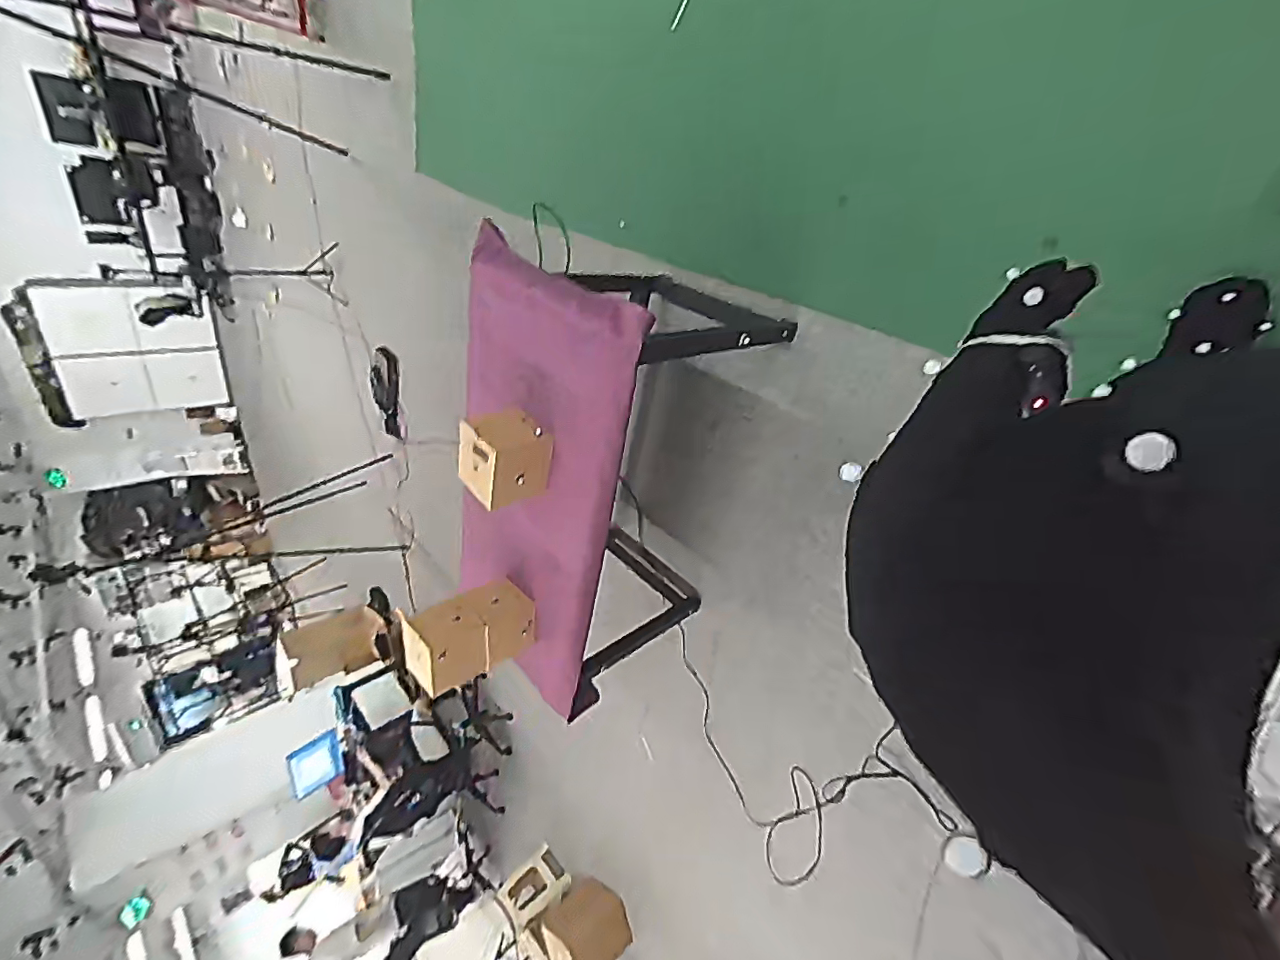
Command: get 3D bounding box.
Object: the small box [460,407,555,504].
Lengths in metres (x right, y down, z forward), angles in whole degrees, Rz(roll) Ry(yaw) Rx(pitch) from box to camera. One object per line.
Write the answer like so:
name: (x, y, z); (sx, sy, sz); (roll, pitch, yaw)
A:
small box: (-0.336, -0.070, 1.379); (0.168, 0.176, 0.179); (43, 131, 31)

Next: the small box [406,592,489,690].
small box: (-0.549, 0.456, 1.557); (0.168, 0.176, 0.179); (27, 122, 38)
